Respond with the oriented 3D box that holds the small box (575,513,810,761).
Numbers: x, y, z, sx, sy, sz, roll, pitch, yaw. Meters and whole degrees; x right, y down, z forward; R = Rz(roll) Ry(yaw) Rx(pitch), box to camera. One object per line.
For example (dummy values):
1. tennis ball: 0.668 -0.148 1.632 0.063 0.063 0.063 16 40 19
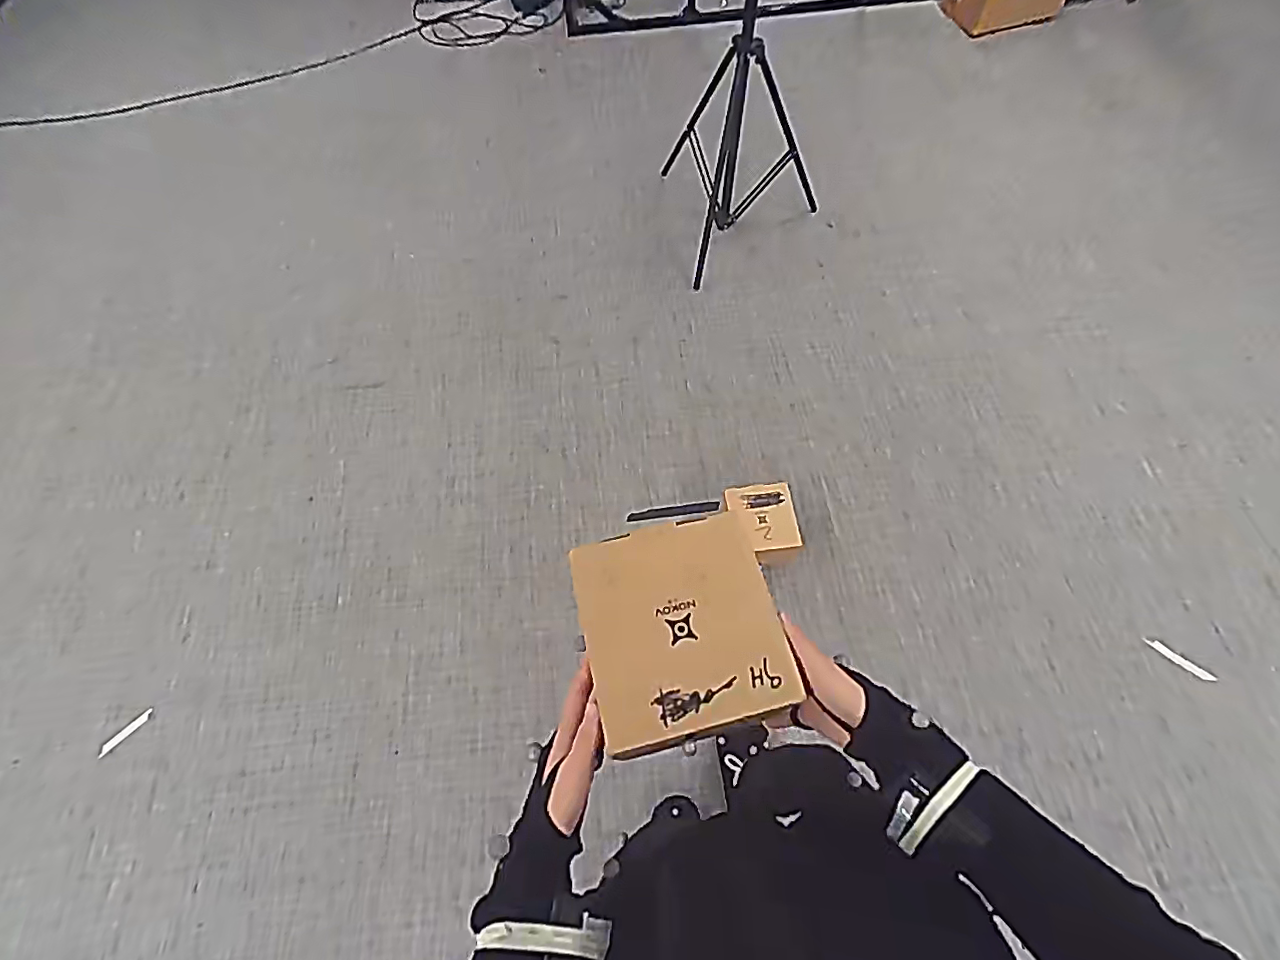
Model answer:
1. small box: 0.037 0.158 0.528 0.168 0.176 0.179 -12 62 -6
